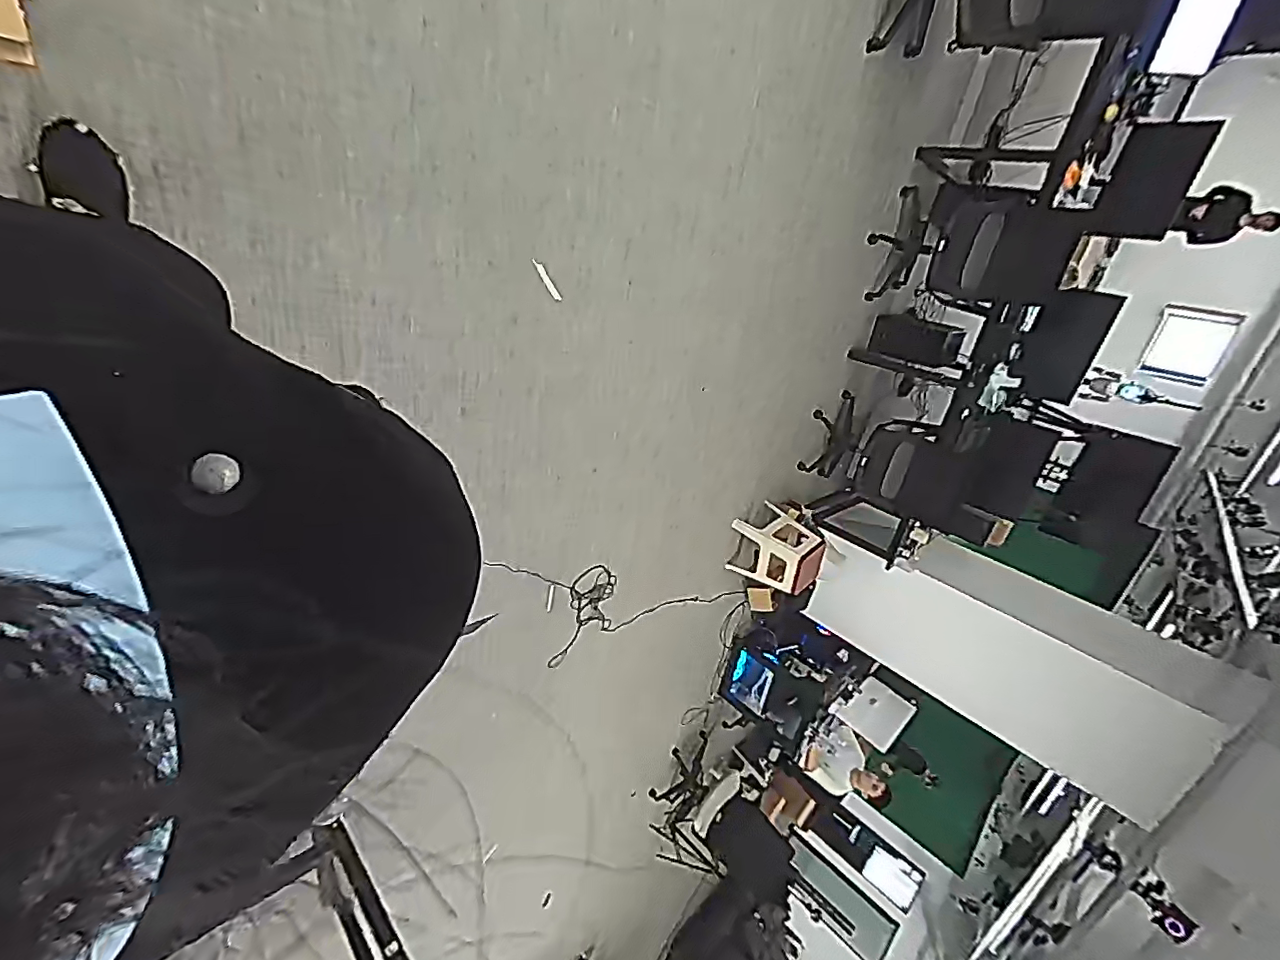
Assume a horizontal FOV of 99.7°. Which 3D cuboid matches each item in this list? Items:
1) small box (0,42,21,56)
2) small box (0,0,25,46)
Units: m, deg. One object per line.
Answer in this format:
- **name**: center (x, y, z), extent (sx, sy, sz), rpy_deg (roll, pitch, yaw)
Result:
- **small box**: center (-0.993, -0.707, 0.733), extent (0.168, 0.176, 0.179), rpy_deg (-19, 127, -42)
- **small box**: center (-0.765, -0.565, 0.542), extent (0.179, 0.176, 0.168), rpy_deg (-13, 124, -45)
